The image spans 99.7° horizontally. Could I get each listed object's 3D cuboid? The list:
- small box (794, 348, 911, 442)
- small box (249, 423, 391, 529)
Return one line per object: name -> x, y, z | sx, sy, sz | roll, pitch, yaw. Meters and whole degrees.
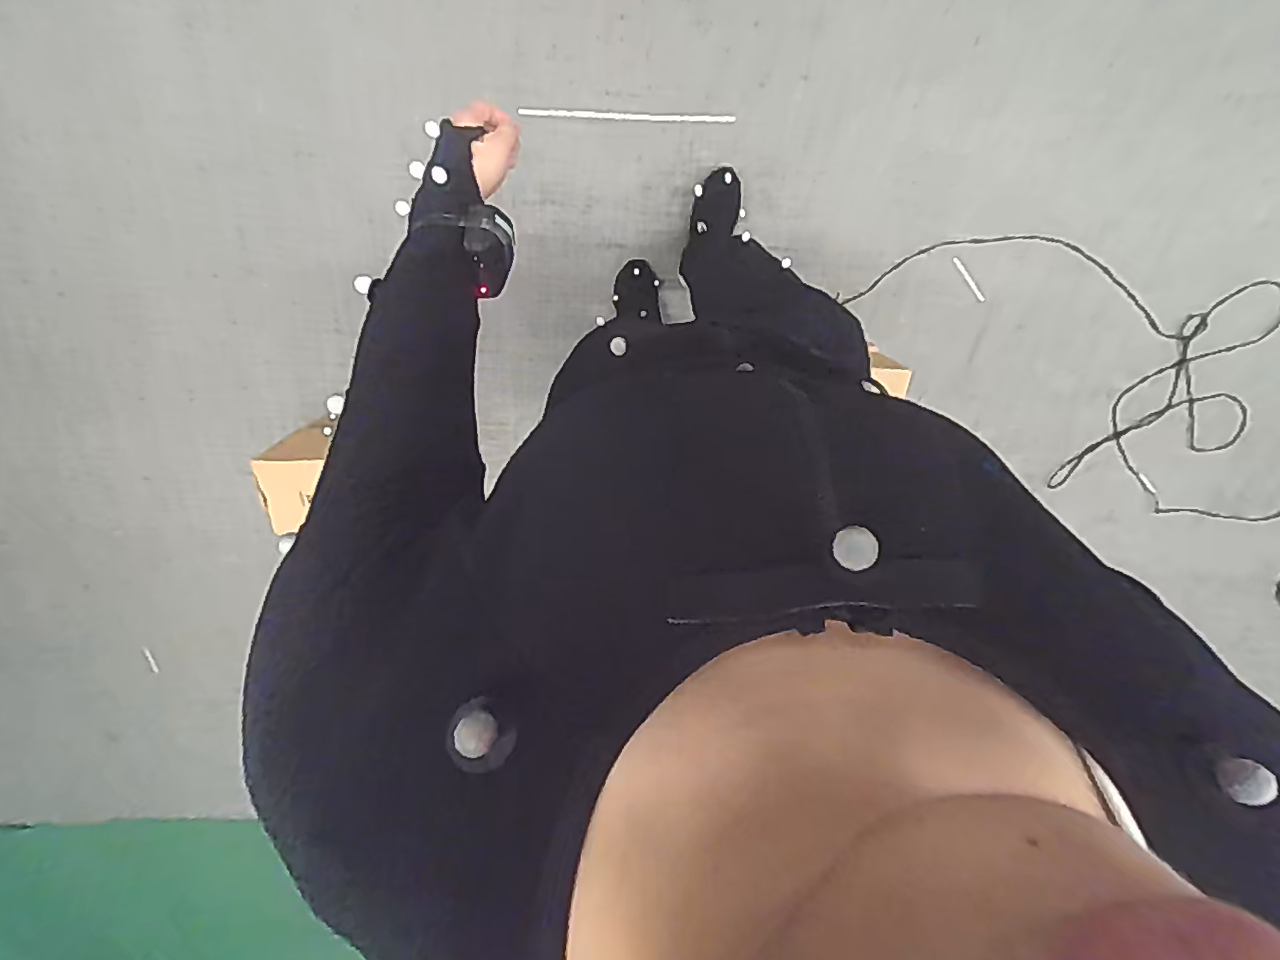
small box -> 0.462, -0.195, 1.210 | 0.179, 0.176, 0.168 | 3, 116, -4
small box -> -0.647, -0.013, 1.114 | 0.179, 0.176, 0.168 | 1, 116, 0
